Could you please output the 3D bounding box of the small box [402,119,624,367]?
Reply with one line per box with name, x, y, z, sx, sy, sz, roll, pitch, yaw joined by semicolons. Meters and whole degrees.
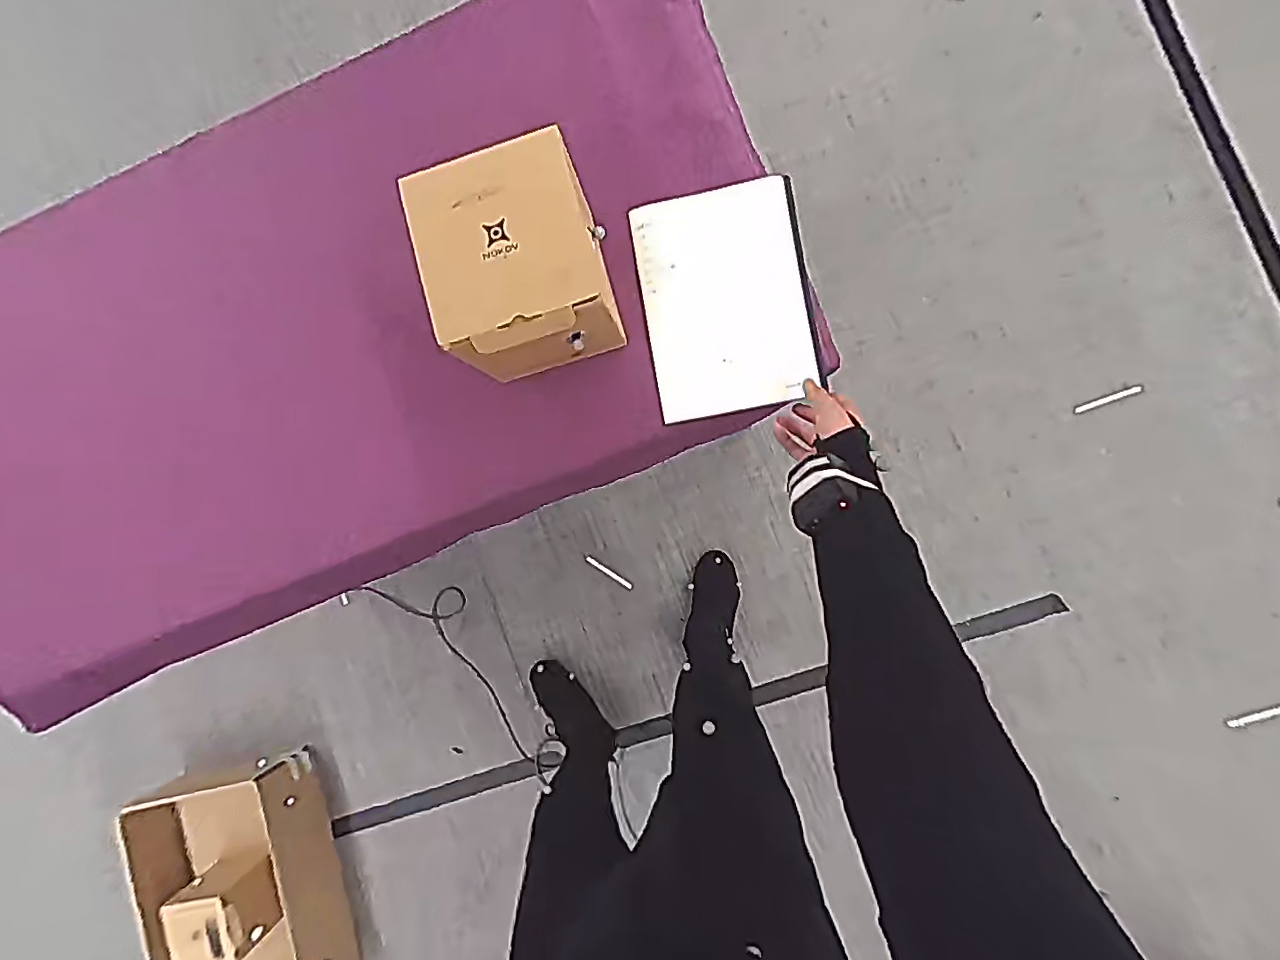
small box;-0.122;-0.233;0.588;0.168;0.176;0.179;-15;87;5
